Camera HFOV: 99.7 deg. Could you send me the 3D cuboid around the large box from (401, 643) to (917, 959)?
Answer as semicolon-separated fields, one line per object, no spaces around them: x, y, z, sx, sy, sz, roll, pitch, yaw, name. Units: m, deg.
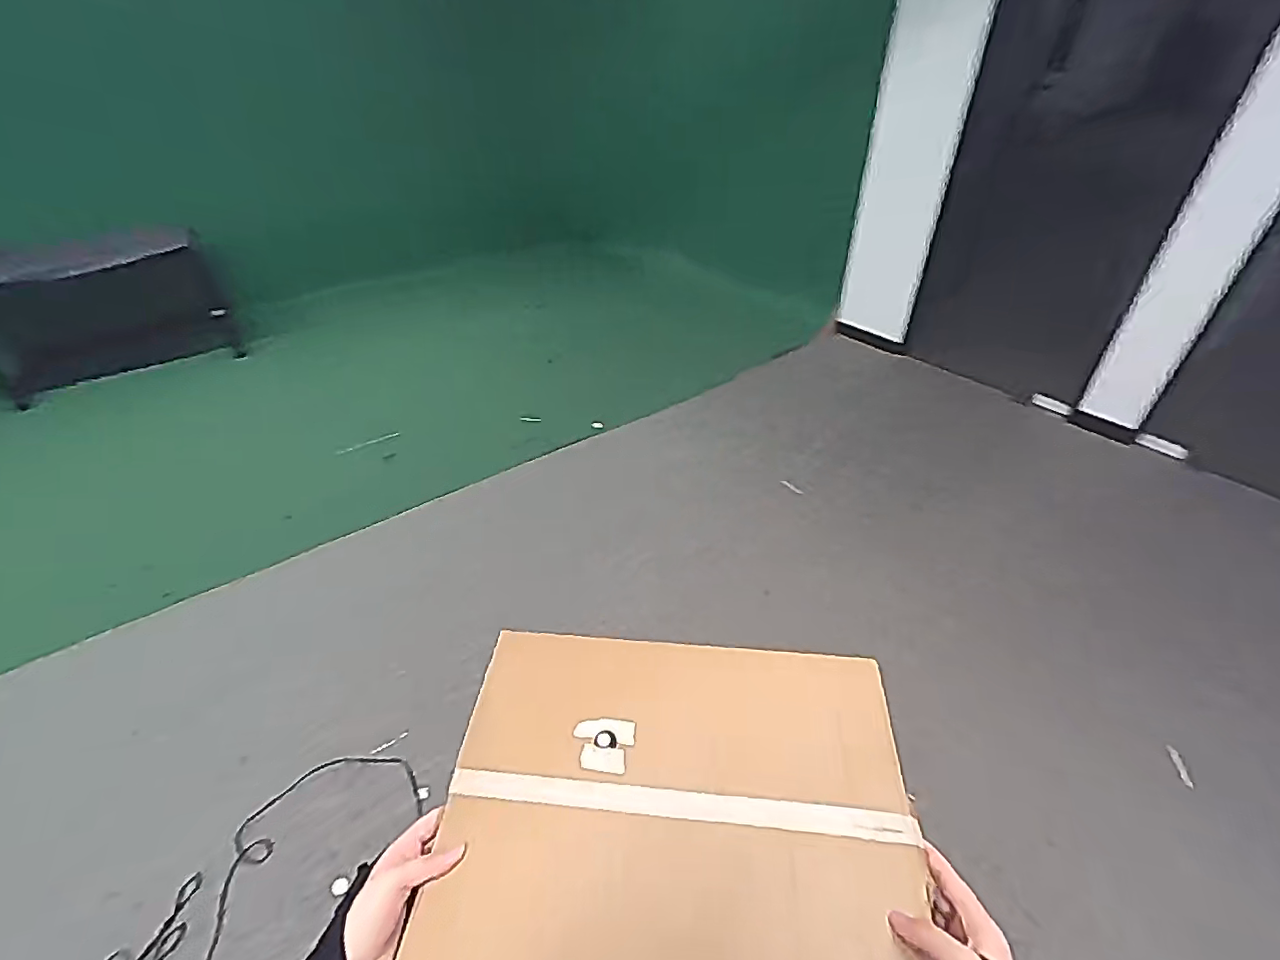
0.032;0.398;0.593;0.408;0.320;0.320;0;45;7;large box
